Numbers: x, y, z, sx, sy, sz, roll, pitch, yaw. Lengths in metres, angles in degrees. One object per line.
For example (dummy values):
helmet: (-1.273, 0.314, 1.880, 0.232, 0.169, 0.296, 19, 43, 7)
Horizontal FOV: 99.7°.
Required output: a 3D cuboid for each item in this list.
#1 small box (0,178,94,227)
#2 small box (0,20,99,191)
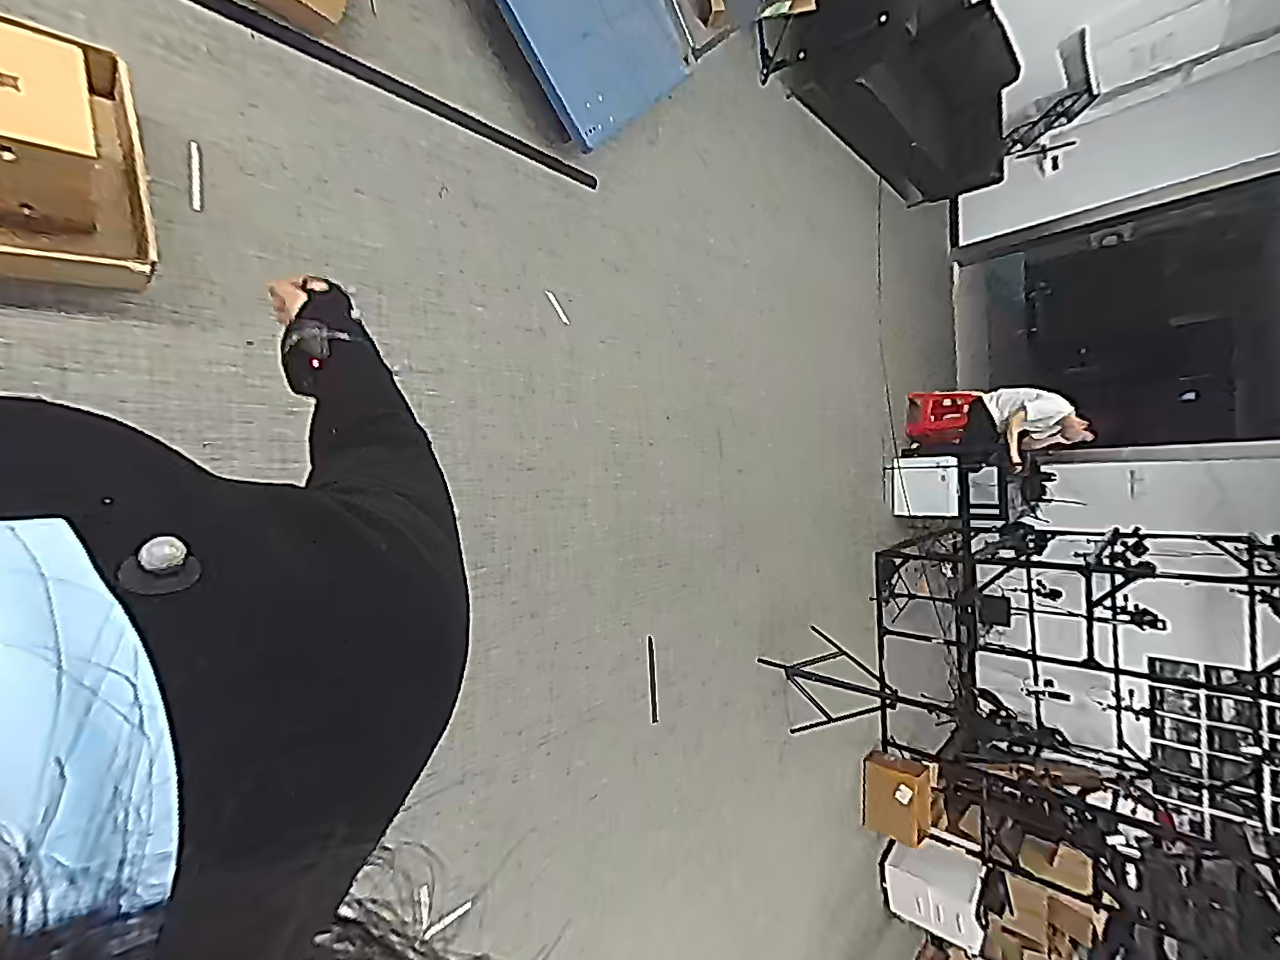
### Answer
small box: (-1.075, -0.568, 0.940, 0.168, 0.176, 0.179, -8, 93, -46)
small box: (-0.960, -0.569, 0.824, 0.179, 0.176, 0.168, -8, 95, -45)
